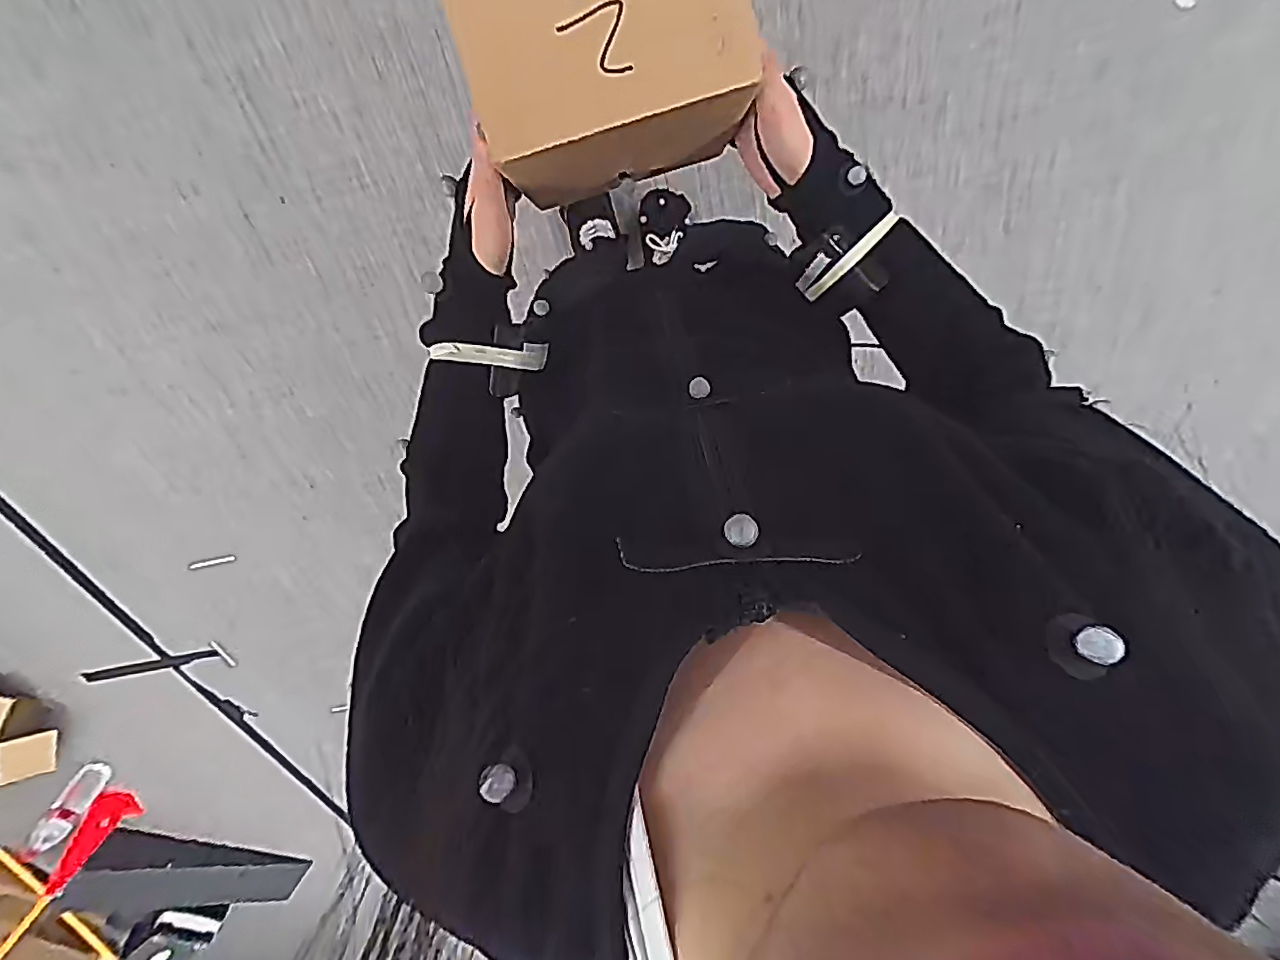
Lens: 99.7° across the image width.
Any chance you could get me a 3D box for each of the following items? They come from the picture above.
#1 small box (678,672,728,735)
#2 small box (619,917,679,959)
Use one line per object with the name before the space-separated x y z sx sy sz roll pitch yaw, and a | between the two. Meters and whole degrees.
small box | 0.253 0.898 2.190 0.168 0.176 0.179 -10 124 3
small box | 0.033 1.514 1.698 0.179 0.176 0.168 -11 124 1
